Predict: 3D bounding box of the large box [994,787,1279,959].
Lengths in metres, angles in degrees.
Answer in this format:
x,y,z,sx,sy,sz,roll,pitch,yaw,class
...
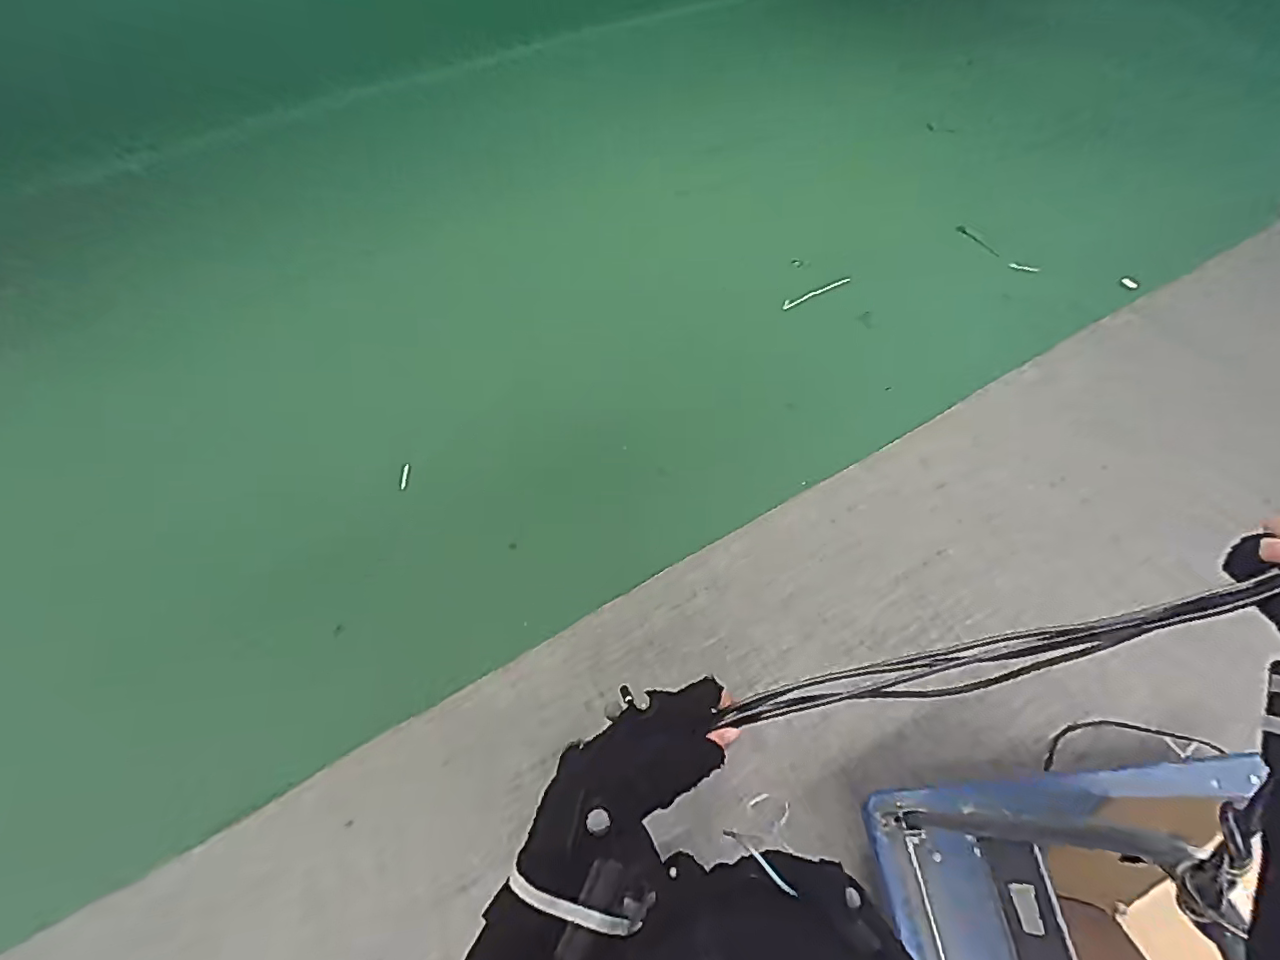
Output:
x,y,z,sx,sy,sz,roll,pitch,yaw,class
0.871,0.749,0.819,0.320,0.320,0.408,-25,61,-13,large box
